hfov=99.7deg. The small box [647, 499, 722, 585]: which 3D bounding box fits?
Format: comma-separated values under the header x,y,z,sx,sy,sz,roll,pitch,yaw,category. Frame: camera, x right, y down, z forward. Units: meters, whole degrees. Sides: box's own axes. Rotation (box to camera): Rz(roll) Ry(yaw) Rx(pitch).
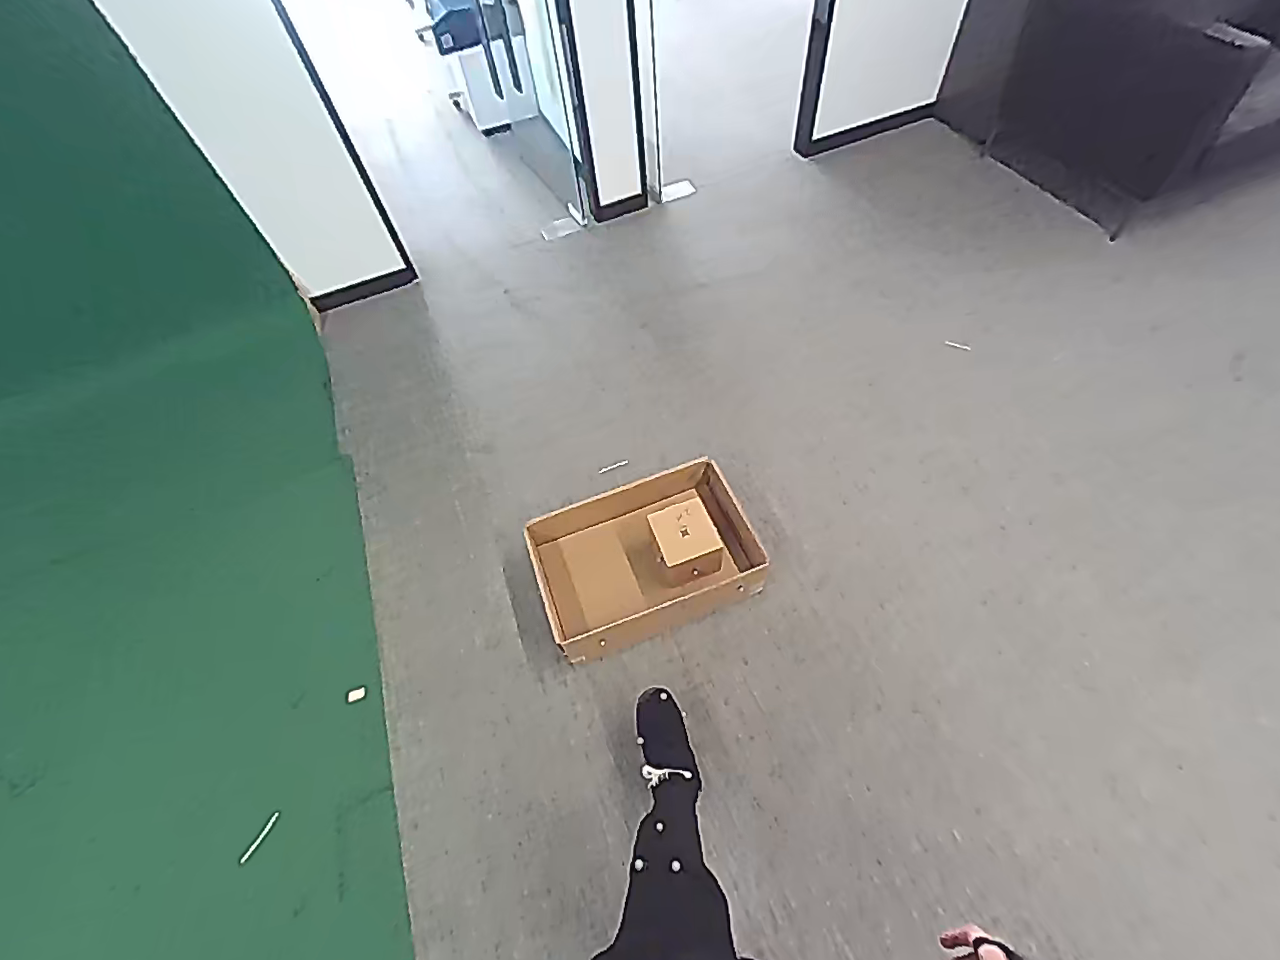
x,y,z,sx,sy,sz,roll,pitch,yaw,category
0.130,0.188,1.574,0.168,0.176,0.179,-18,57,-7,small box
